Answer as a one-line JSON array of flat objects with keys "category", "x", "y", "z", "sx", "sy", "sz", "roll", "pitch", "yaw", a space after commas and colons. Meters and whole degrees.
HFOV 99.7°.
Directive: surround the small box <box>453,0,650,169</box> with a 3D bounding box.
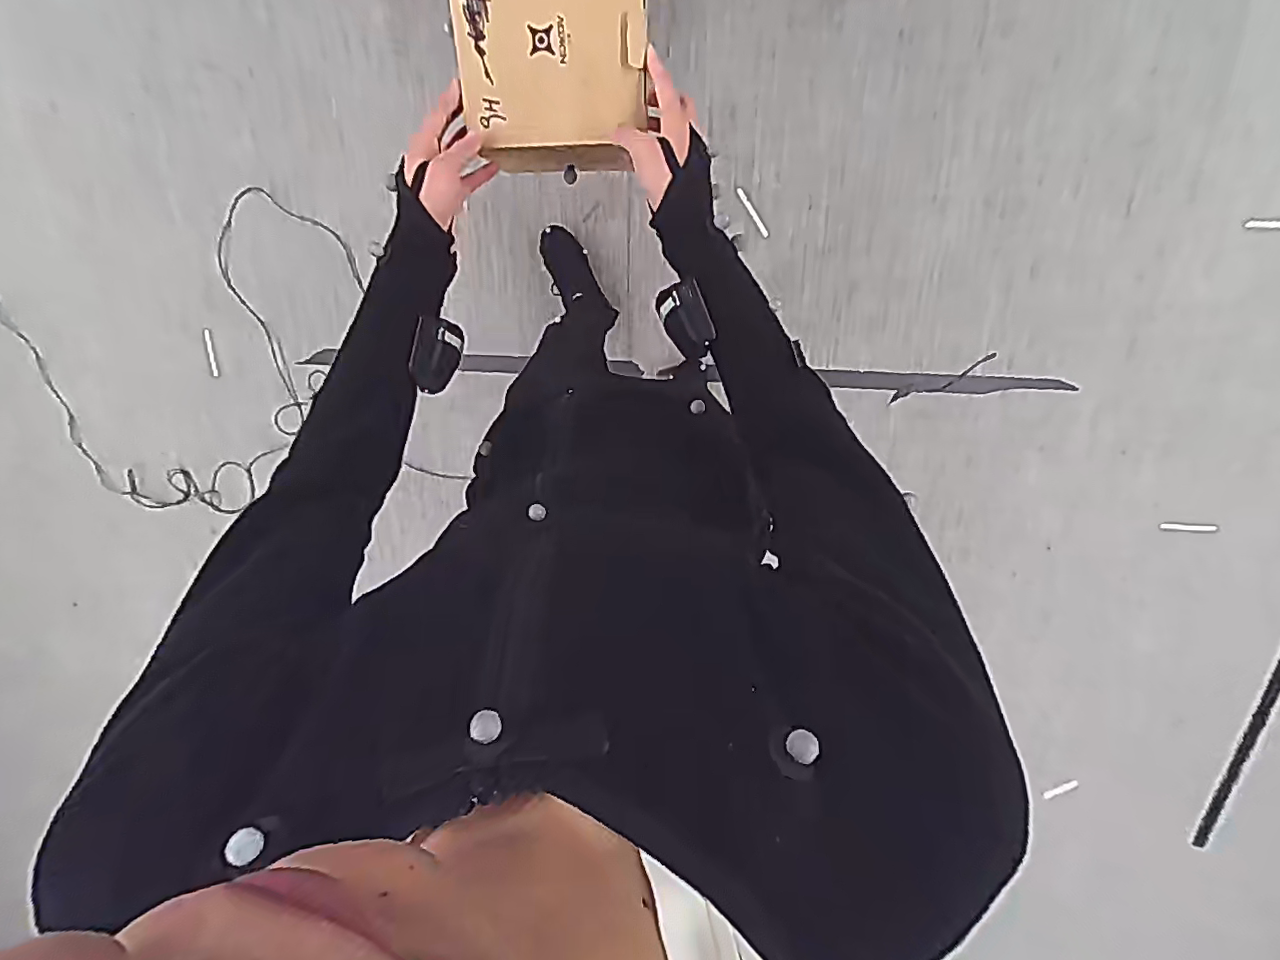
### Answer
[{"category": "small box", "x": -0.083, "y": -0.432, "z": 0.564, "sx": 0.179, "sy": 0.176, "sz": 0.168, "roll": -2, "pitch": 112, "yaw": -2}]
